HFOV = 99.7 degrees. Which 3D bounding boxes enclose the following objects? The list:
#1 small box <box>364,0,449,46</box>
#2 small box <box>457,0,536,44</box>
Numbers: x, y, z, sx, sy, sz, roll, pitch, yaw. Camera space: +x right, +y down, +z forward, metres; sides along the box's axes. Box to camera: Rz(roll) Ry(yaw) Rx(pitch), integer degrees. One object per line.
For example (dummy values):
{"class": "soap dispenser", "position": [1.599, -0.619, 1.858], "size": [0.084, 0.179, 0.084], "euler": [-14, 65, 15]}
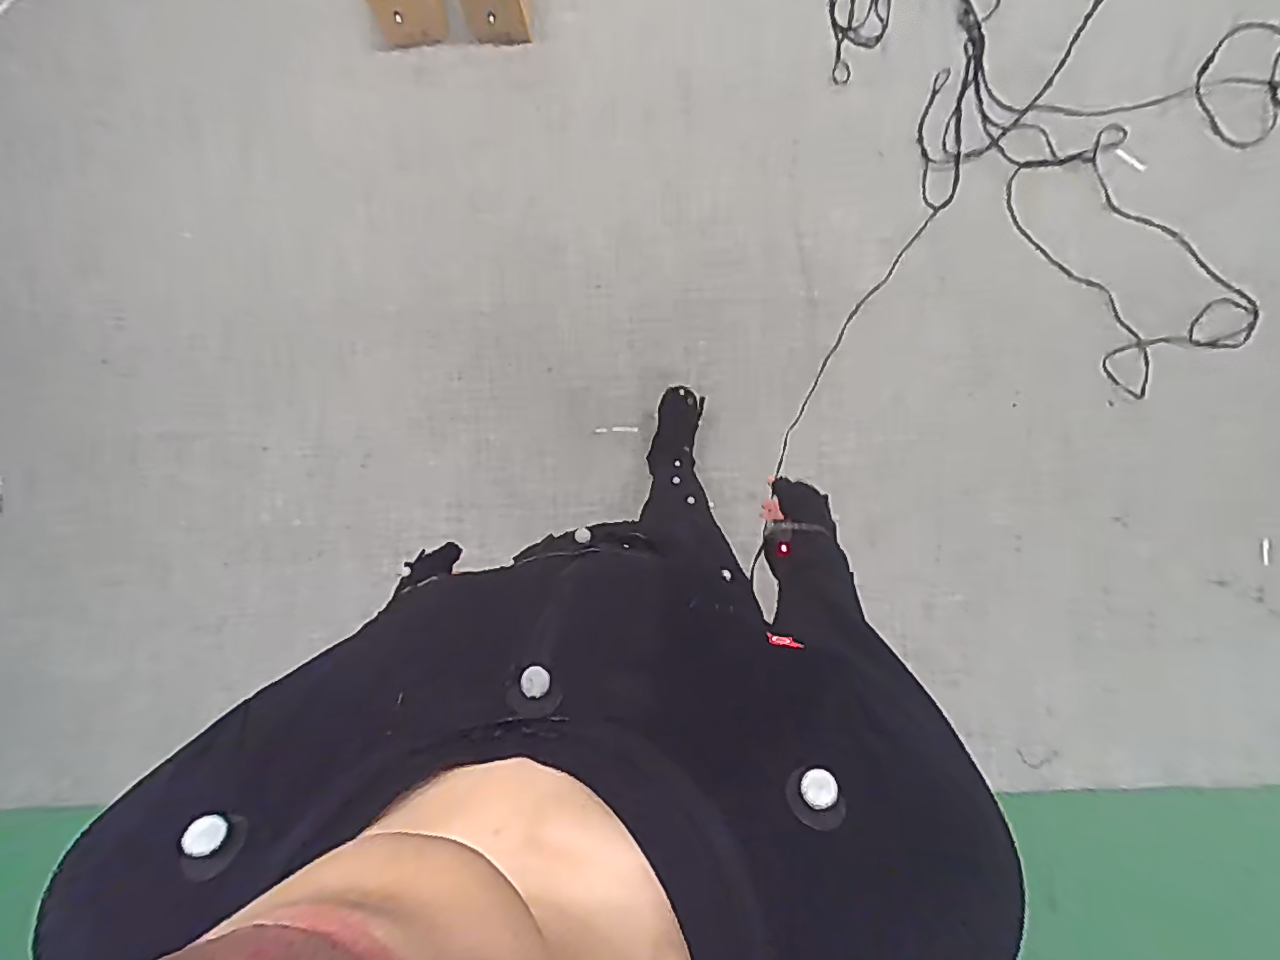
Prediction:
{"class": "small box", "position": [-0.621, -1.297, 1.434], "size": [0.168, 0.176, 0.179], "euler": [-7, 89, 2]}
{"class": "small box", "position": [-0.376, -1.297, 1.423], "size": [0.168, 0.176, 0.179], "euler": [4, 89, 2]}
